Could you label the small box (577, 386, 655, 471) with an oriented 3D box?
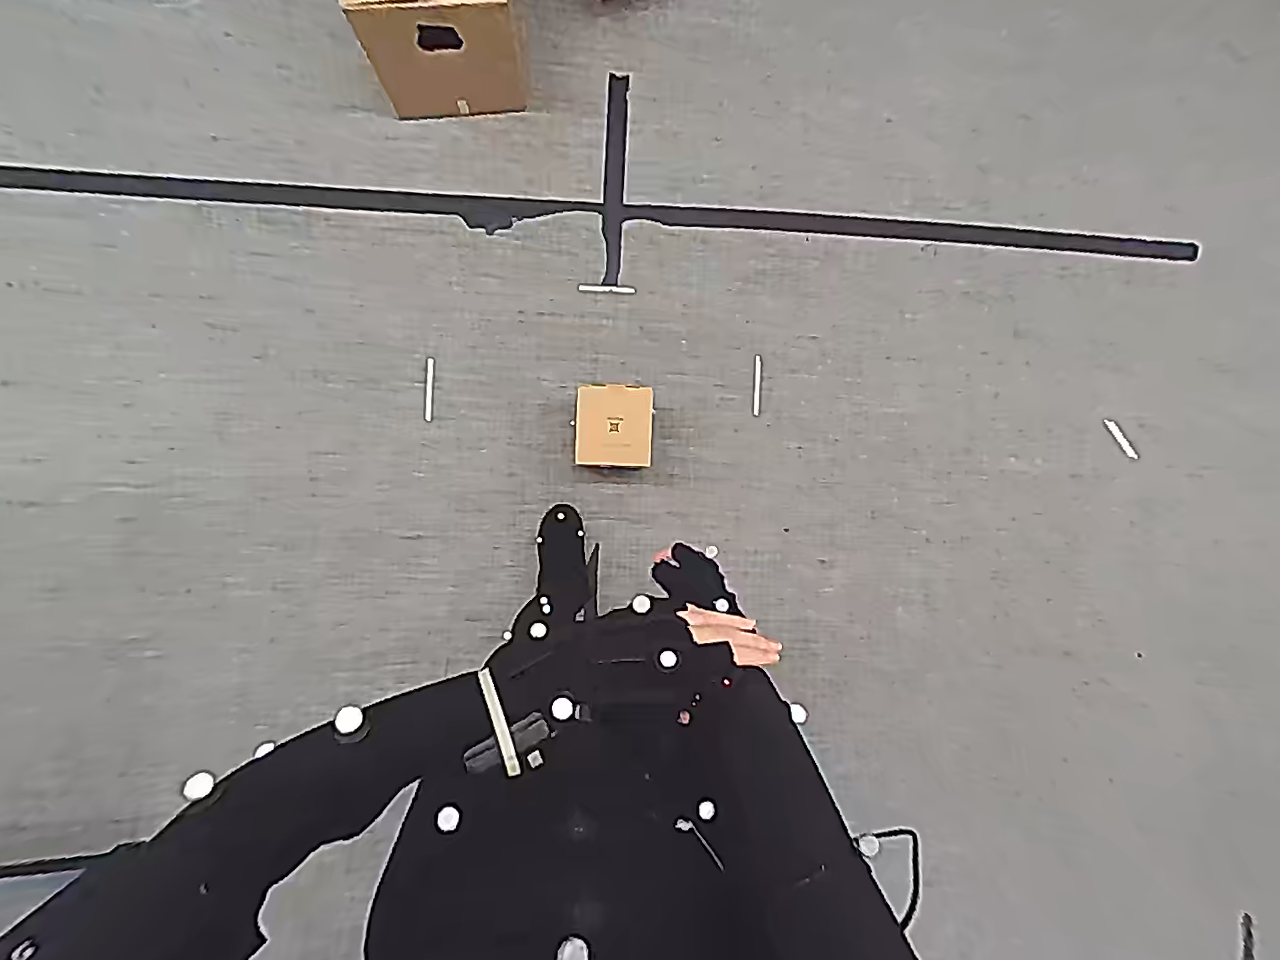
[{"bbox_3d":[-0.059,-0.114,1.254,0.168,0.176,0.179,2,90,-4],"label":"small box"}]
